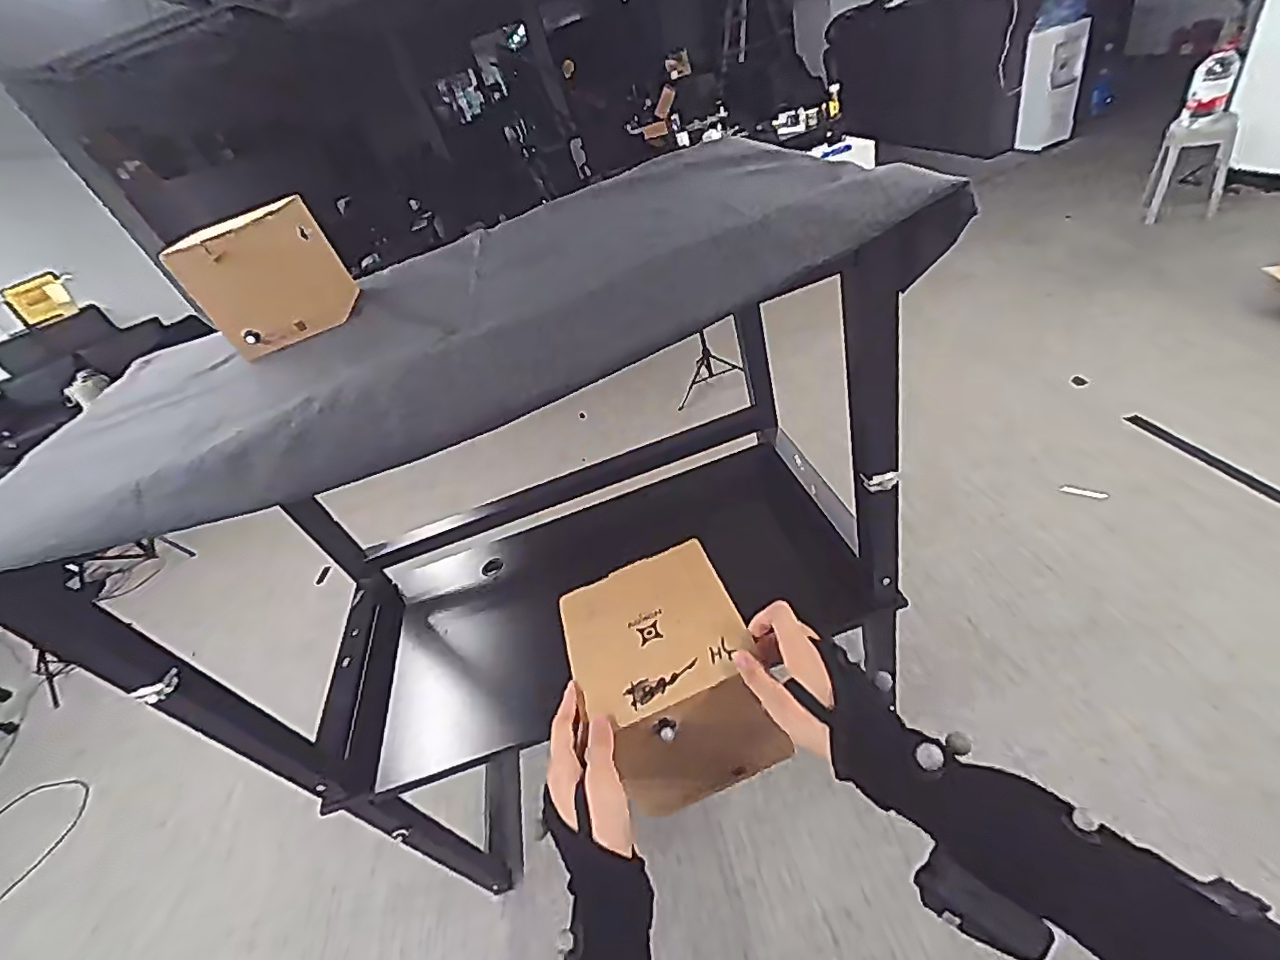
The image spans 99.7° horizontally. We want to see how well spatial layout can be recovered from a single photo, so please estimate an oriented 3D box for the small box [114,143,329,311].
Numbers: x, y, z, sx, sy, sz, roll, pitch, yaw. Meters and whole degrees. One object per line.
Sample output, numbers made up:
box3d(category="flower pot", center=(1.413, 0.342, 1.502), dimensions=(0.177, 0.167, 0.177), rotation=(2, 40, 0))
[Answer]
box3d(category="small box", center=(-0.601, -0.375, 0.809), dimensions=(0.168, 0.176, 0.179), rotation=(-23, 39, -3))
